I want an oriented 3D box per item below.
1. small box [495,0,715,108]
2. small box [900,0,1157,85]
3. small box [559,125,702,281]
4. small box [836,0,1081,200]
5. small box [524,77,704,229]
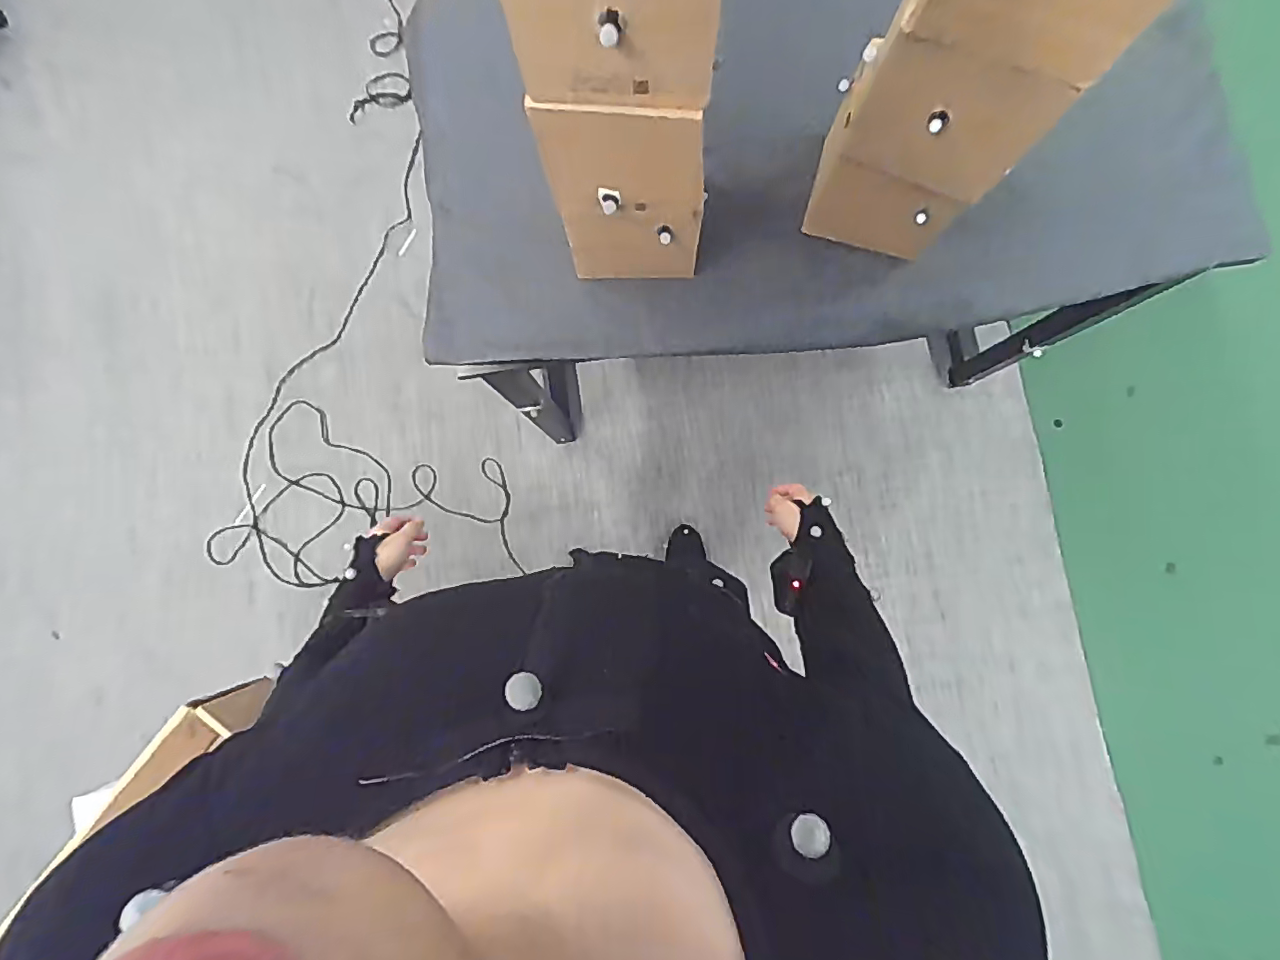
[{"bbox_3d":[-0.020,-0.428,0.419,0.168,0.176,0.179,4,84,3],"label":"small box"},{"bbox_3d":[0.333,-0.453,0.411,0.179,0.176,0.168,21,84,3],"label":"small box"},{"bbox_3d":[-0.010,-0.389,0.743,0.179,0.176,0.168,0,83,2],"label":"small box"},{"bbox_3d":[0.340,-0.435,0.572,0.179,0.176,0.168,23,84,4],"label":"small box"},{"bbox_3d":[-0.015,-0.404,0.581,0.168,0.176,0.179,5,85,3],"label":"small box"}]
